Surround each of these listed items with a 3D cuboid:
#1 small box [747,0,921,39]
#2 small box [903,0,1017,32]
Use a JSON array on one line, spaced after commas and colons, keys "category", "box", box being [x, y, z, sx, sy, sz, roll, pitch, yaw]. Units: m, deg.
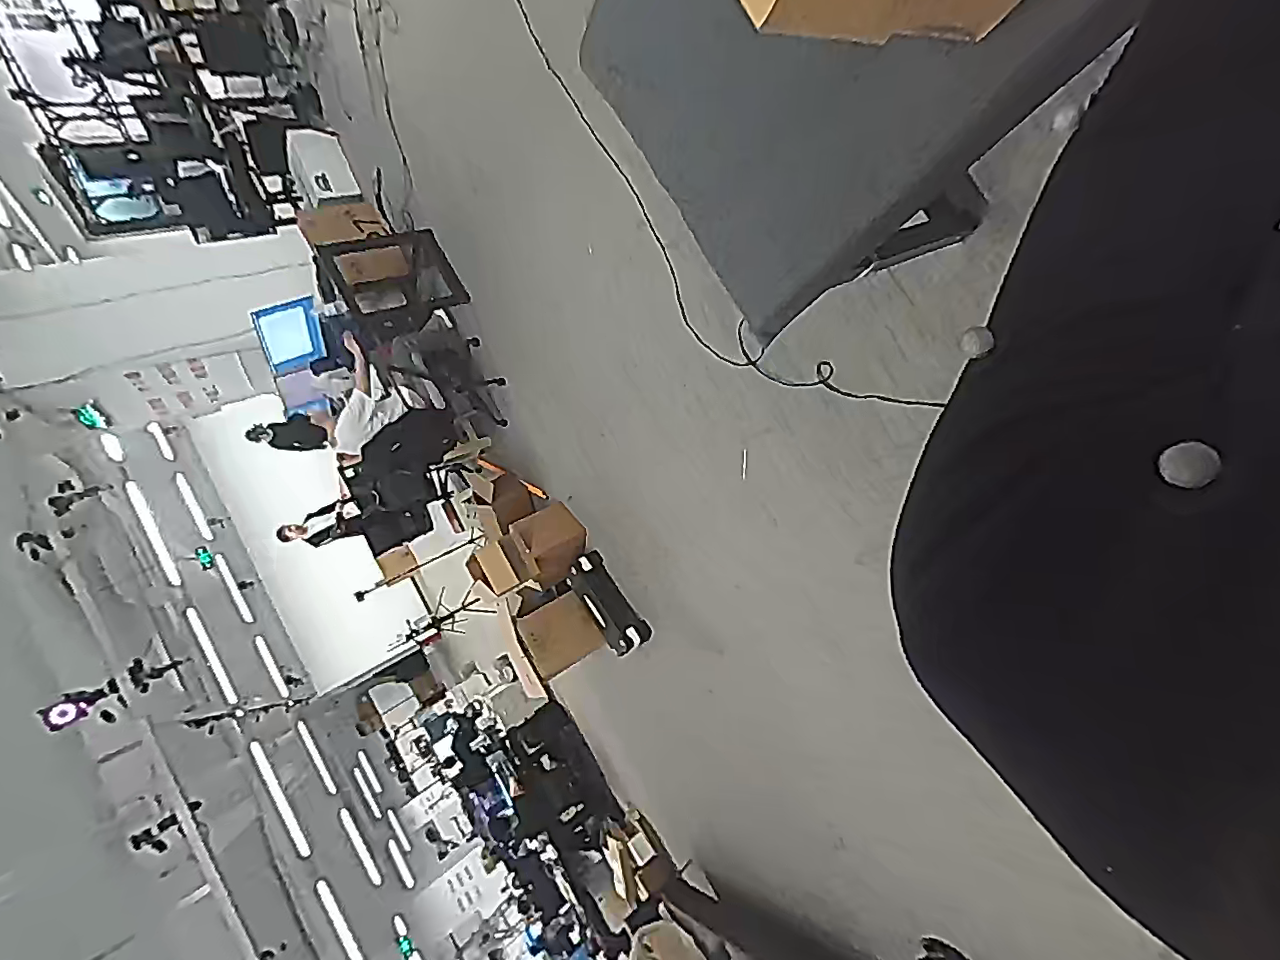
[{"category": "small box", "box": [0.154, -0.451, 0.367, 0.168, 0.176, 0.179, 63, 150, 5]}, {"category": "small box", "box": [0.285, -0.514, 0.441, 0.168, 0.176, 0.179, 63, 149, 3]}]
